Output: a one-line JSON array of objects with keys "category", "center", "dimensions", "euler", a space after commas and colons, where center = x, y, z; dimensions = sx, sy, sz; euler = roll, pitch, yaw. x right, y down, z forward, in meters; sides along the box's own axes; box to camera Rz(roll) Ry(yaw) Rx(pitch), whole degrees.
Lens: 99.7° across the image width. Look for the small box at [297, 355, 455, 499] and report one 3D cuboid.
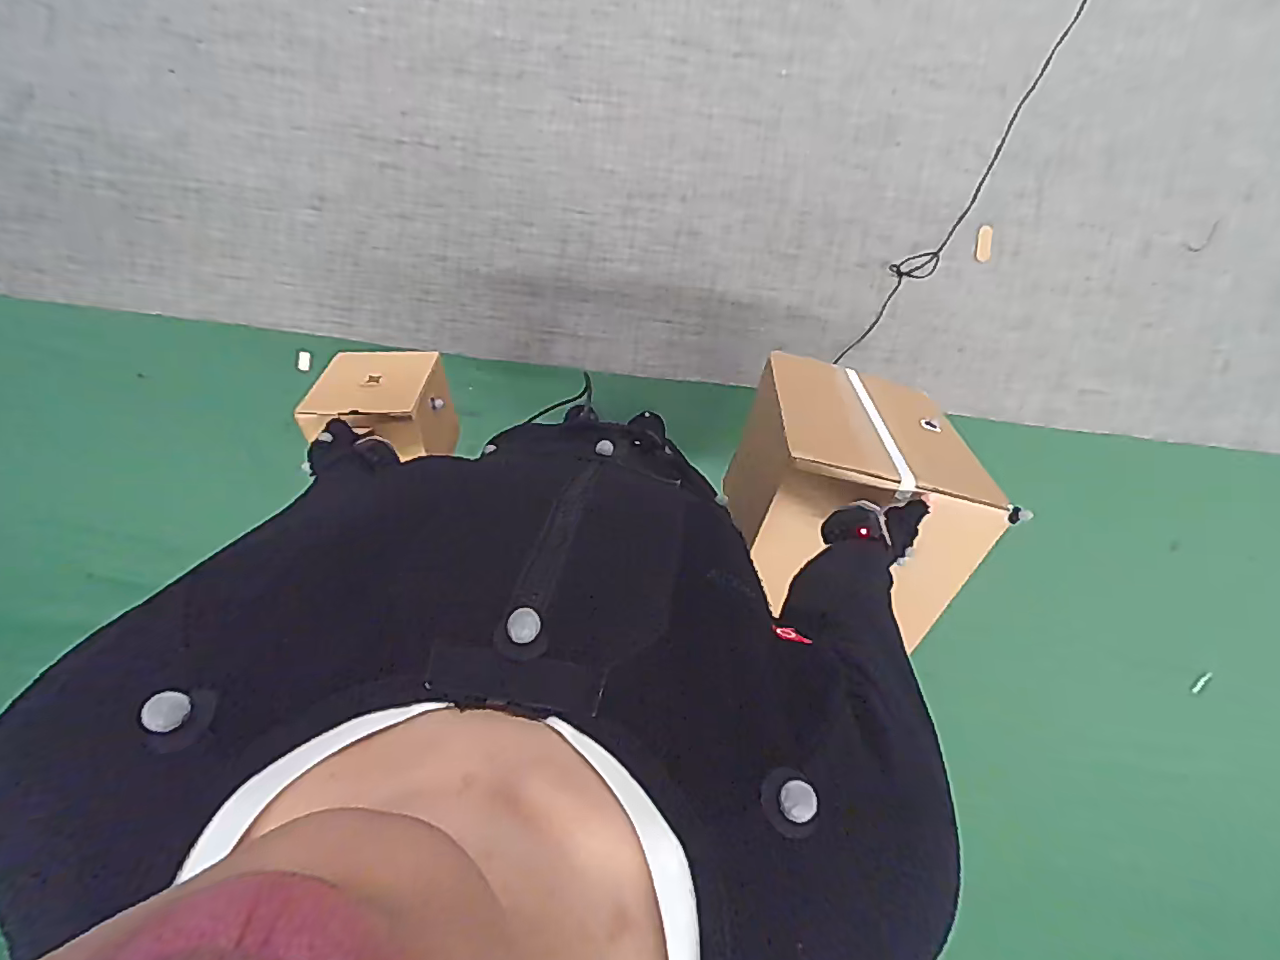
[{"category": "small box", "center": [-0.413, -0.088, 0.886], "dimensions": [0.168, 0.179, 0.176], "euler": [-1, 133, -3]}]
